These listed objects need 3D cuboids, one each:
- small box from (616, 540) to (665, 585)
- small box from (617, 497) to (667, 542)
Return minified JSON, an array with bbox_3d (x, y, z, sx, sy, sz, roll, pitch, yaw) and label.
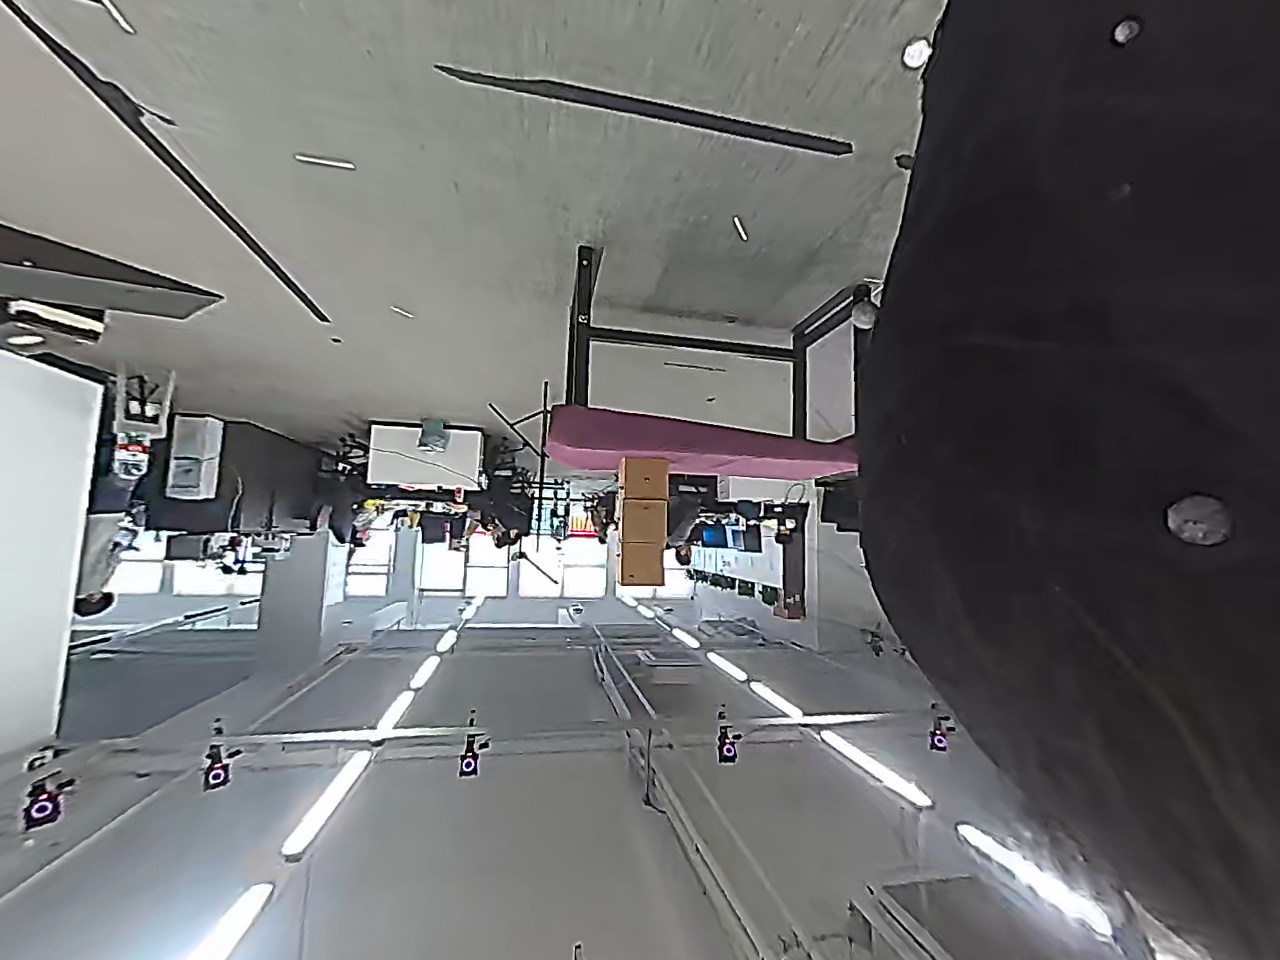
[{"bbox_3d":[0.002,0.319,2.129,0.179,0.176,0.168,2,174,-7],"label":"small box"},{"bbox_3d":[0.006,0.156,2.137,0.179,0.176,0.168,3,175,-7],"label":"small box"}]
